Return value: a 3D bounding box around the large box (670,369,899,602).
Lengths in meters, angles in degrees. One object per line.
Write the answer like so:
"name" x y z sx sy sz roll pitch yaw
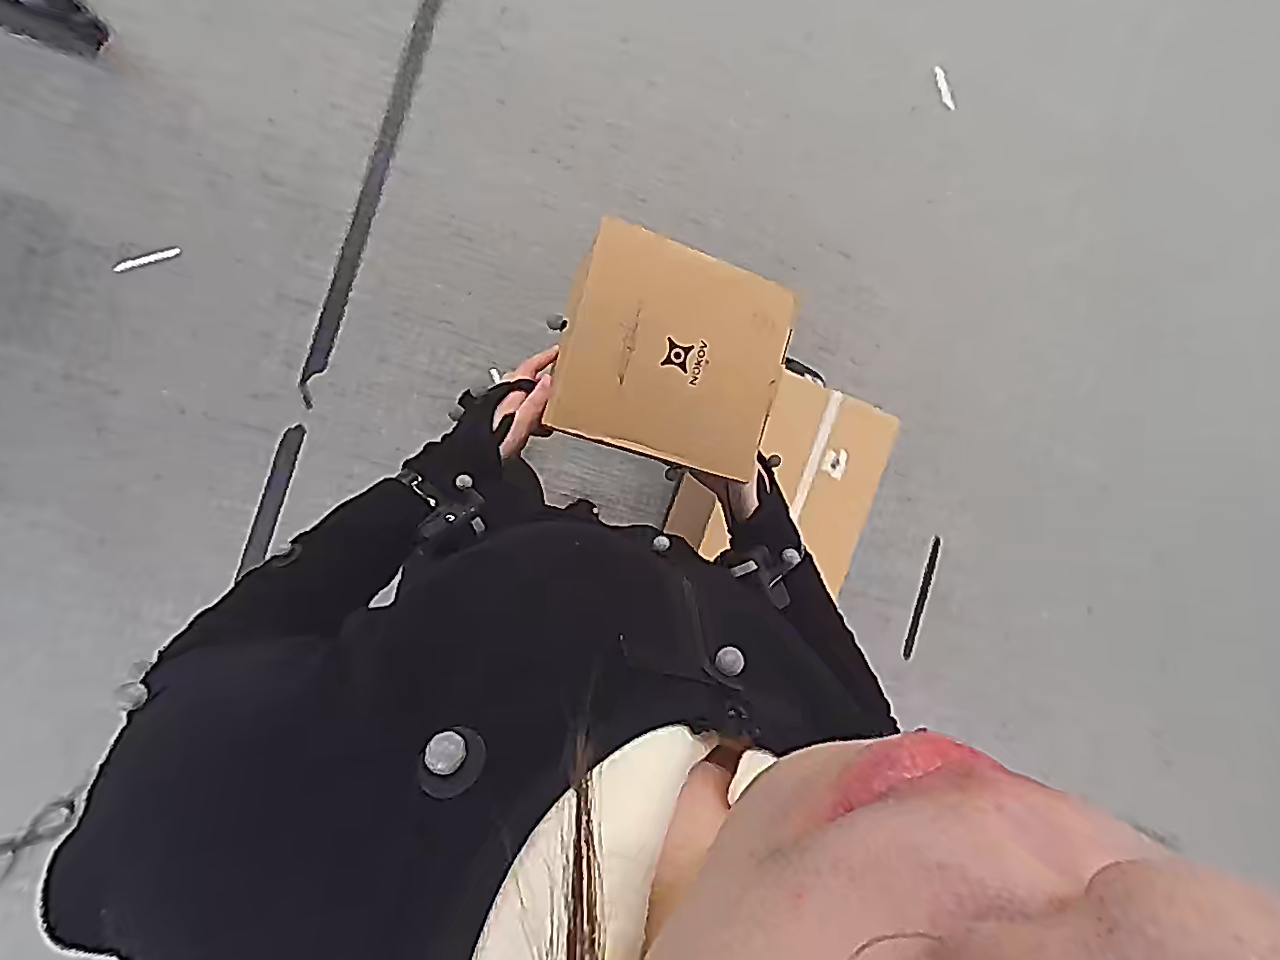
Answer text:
"large box" 0.297 0.009 1.209 0.320 0.320 0.408 21 88 -10

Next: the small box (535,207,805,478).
"small box" 0.012 -0.109 0.491 0.179 0.176 0.168 15 92 -15
